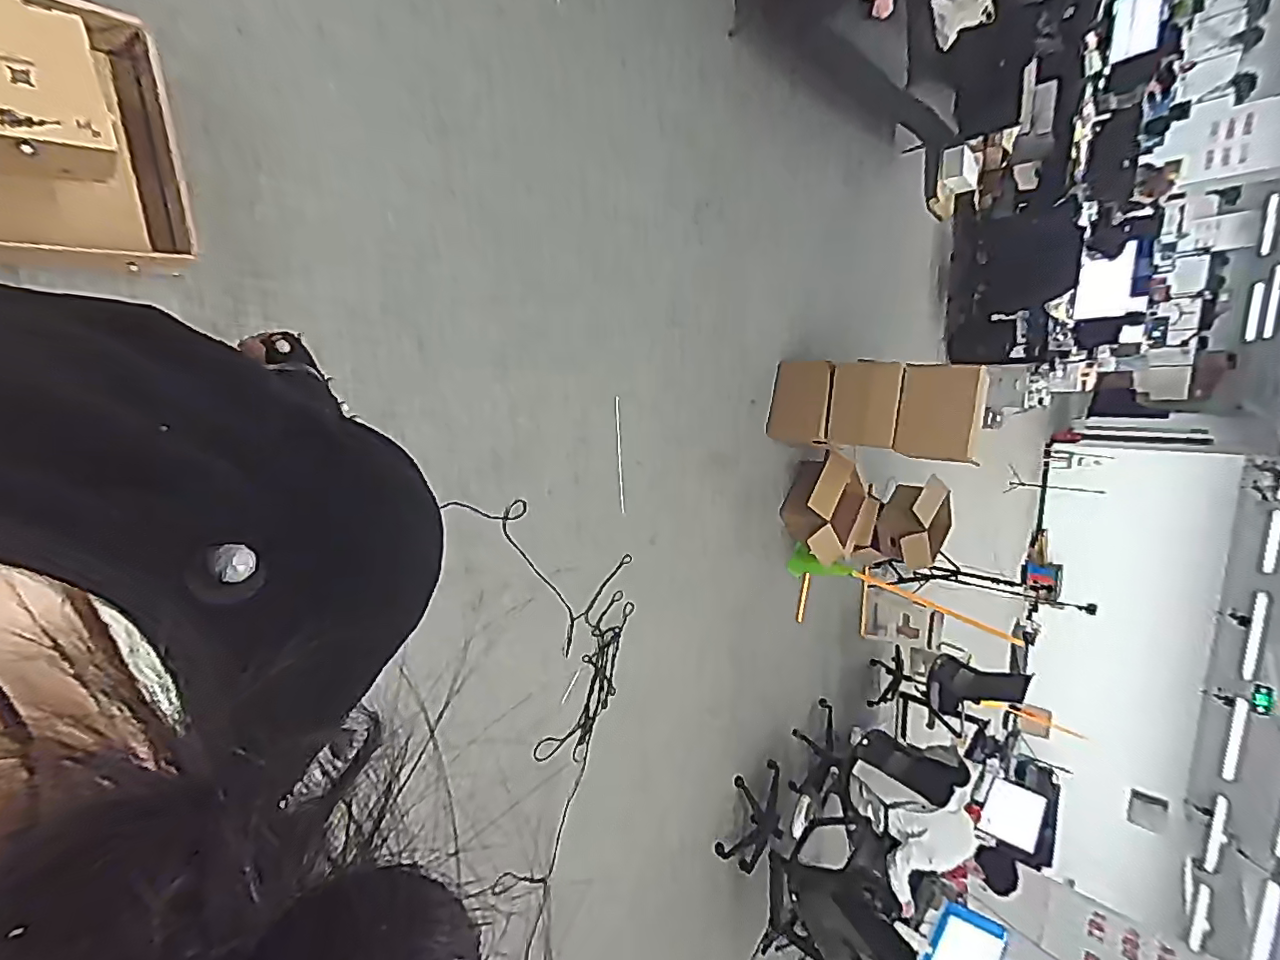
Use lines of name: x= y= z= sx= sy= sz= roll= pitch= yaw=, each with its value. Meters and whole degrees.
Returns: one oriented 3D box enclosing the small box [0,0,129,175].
small box: x=-0.894 y=-0.581 z=0.801 sx=0.168 sy=0.176 sz=0.179 roll=-17 pitch=109 yaw=-41
